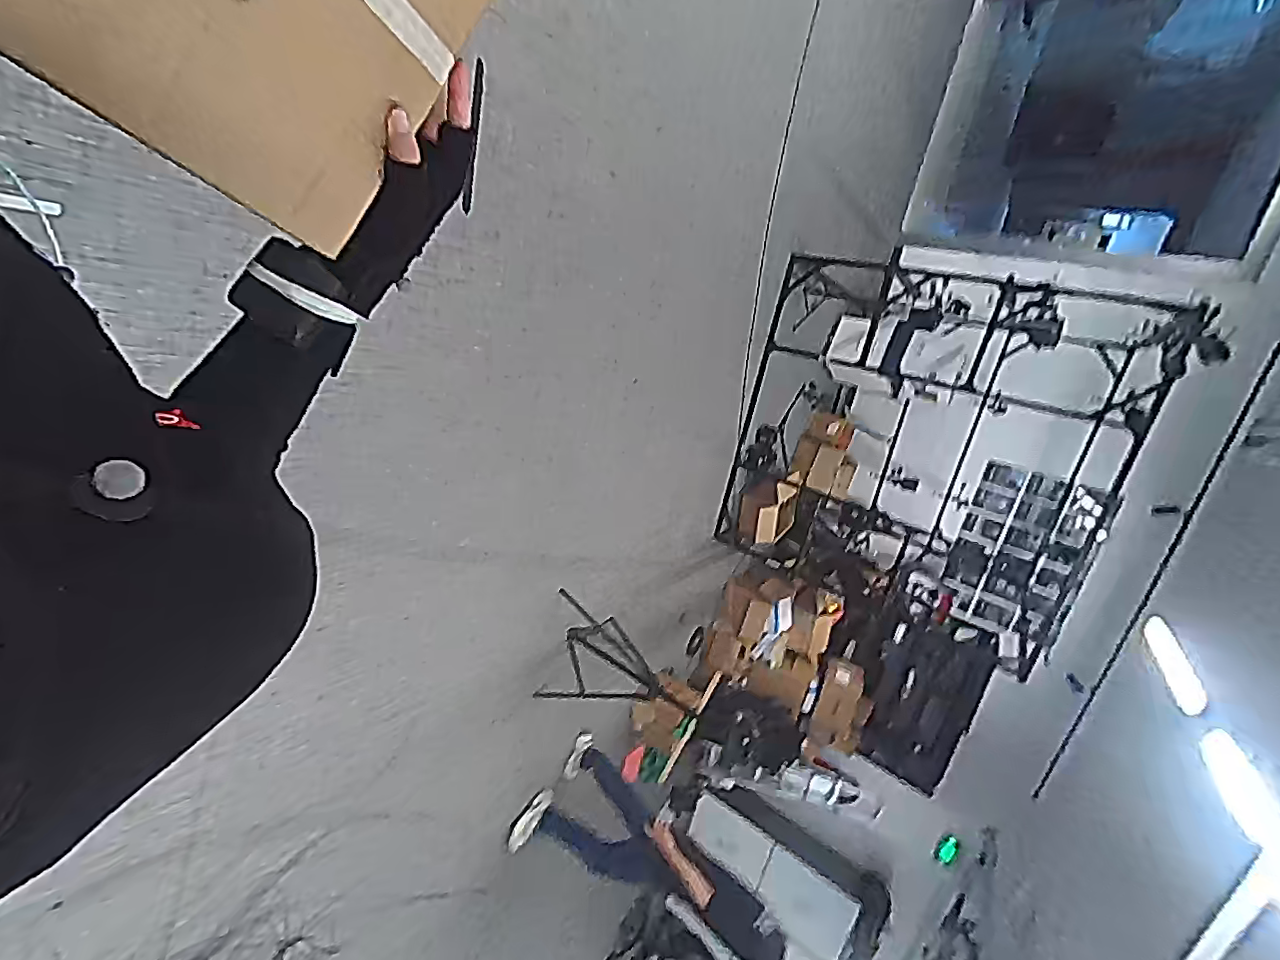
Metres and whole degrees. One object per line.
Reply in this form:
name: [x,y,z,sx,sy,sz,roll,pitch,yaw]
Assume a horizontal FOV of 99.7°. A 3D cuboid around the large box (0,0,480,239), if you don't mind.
large box: [-0.347,-0.425,0.315,0.320,0.320,0.408,-56,146,4]
